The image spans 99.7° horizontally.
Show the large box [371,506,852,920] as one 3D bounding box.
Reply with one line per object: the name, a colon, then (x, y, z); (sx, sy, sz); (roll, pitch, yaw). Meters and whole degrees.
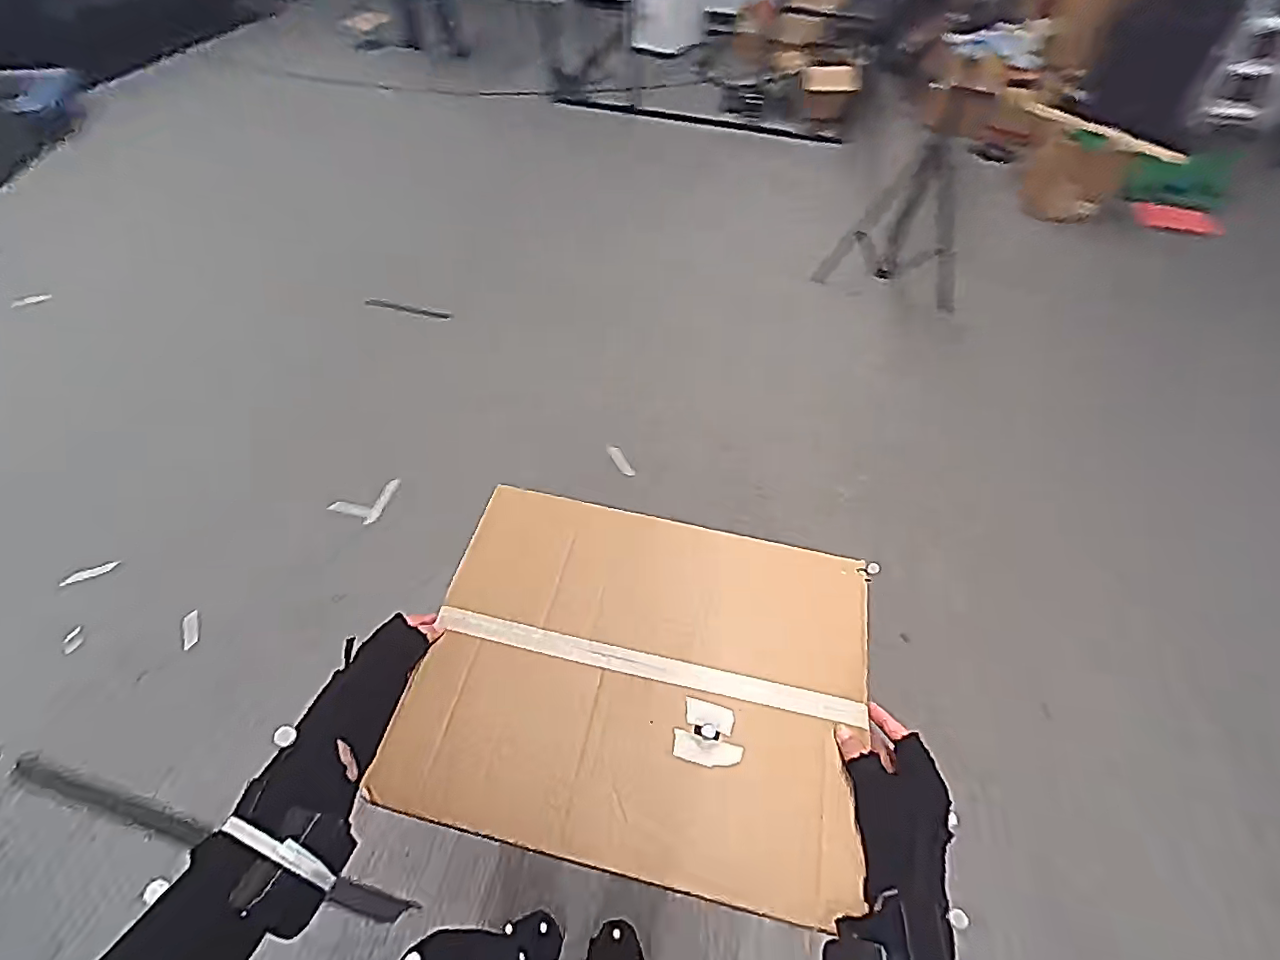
large box: (-0.010, 0.268, 0.637); (0.408, 0.320, 0.320); (11, 57, 5)
